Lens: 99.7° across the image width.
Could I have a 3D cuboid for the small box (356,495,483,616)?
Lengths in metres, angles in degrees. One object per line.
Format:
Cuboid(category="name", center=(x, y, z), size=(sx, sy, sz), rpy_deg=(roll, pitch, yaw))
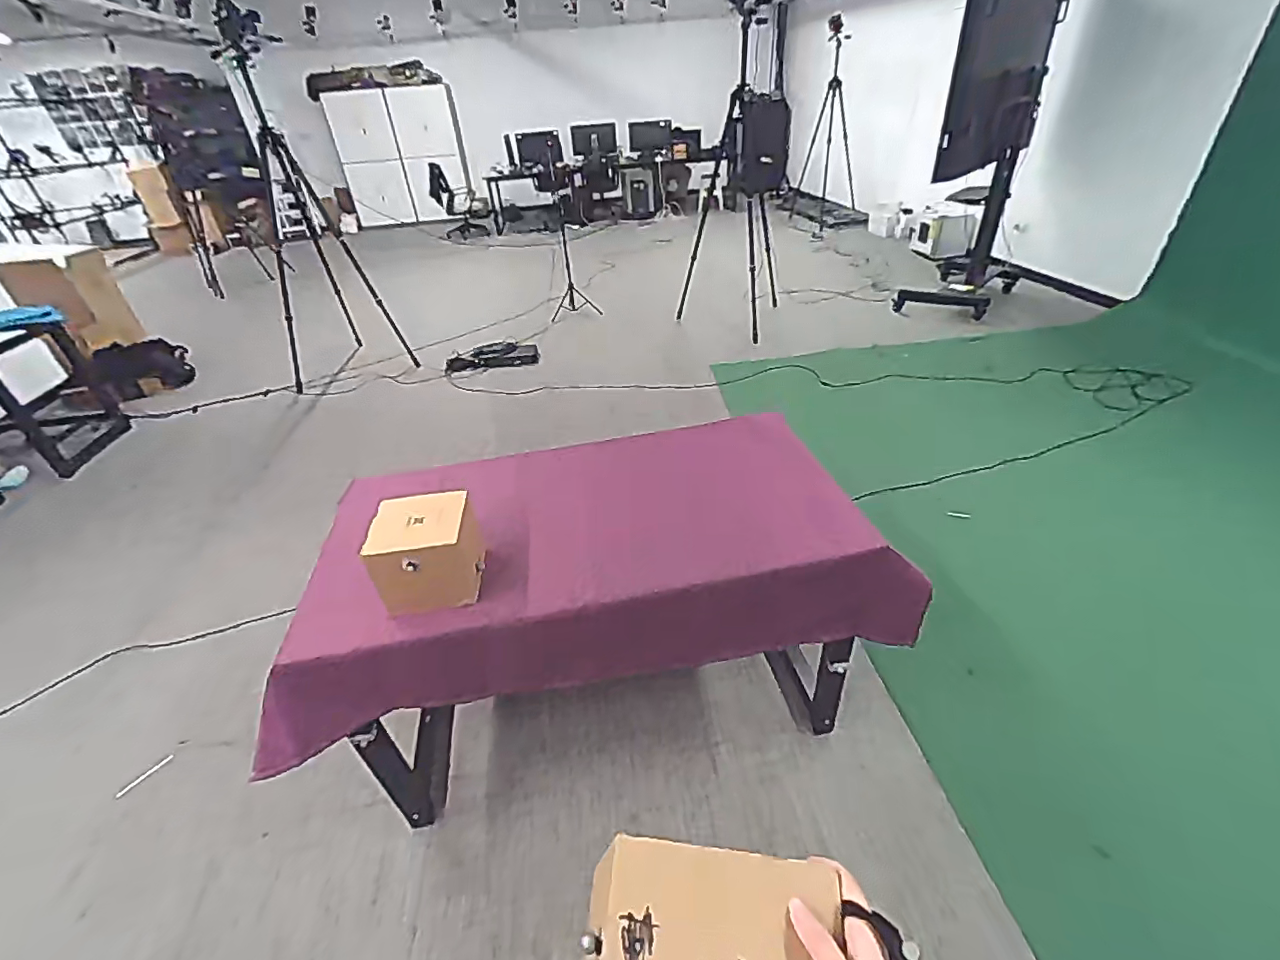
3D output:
Cuboid(category="small box", center=(-0.427, 0.152, 1.080), size=(0.179, 0.176, 0.168), rpy_deg=(-7, 36, -4))
